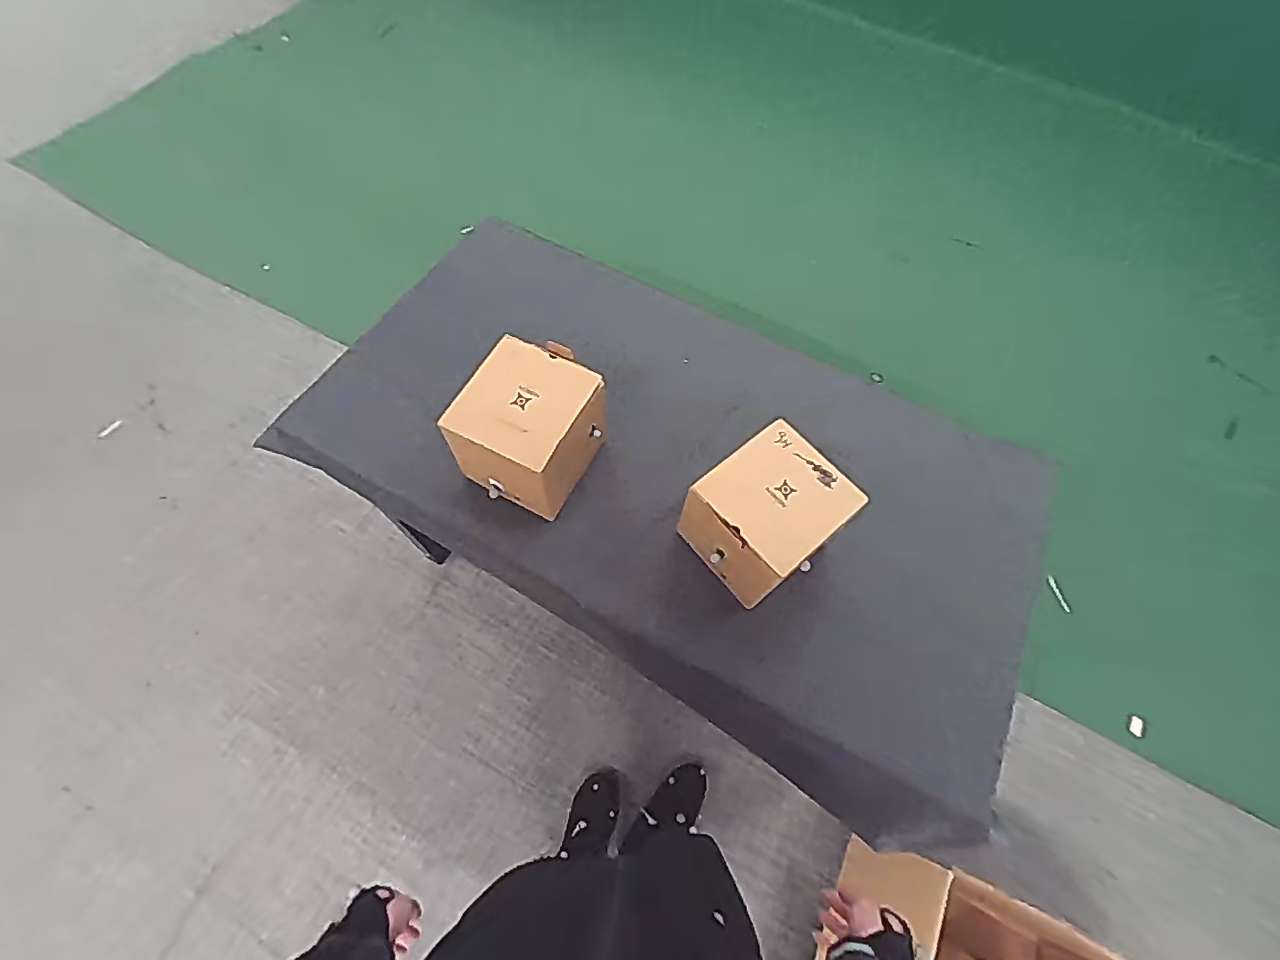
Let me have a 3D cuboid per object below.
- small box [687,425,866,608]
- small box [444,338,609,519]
[{"bbox_3d":[0.182,0.060,0.784,0.179,0.176,0.168,-36,70,-18],"label":"small box"},{"bbox_3d":[-0.159,-0.072,0.816,0.168,0.176,0.179,25,65,10],"label":"small box"}]
